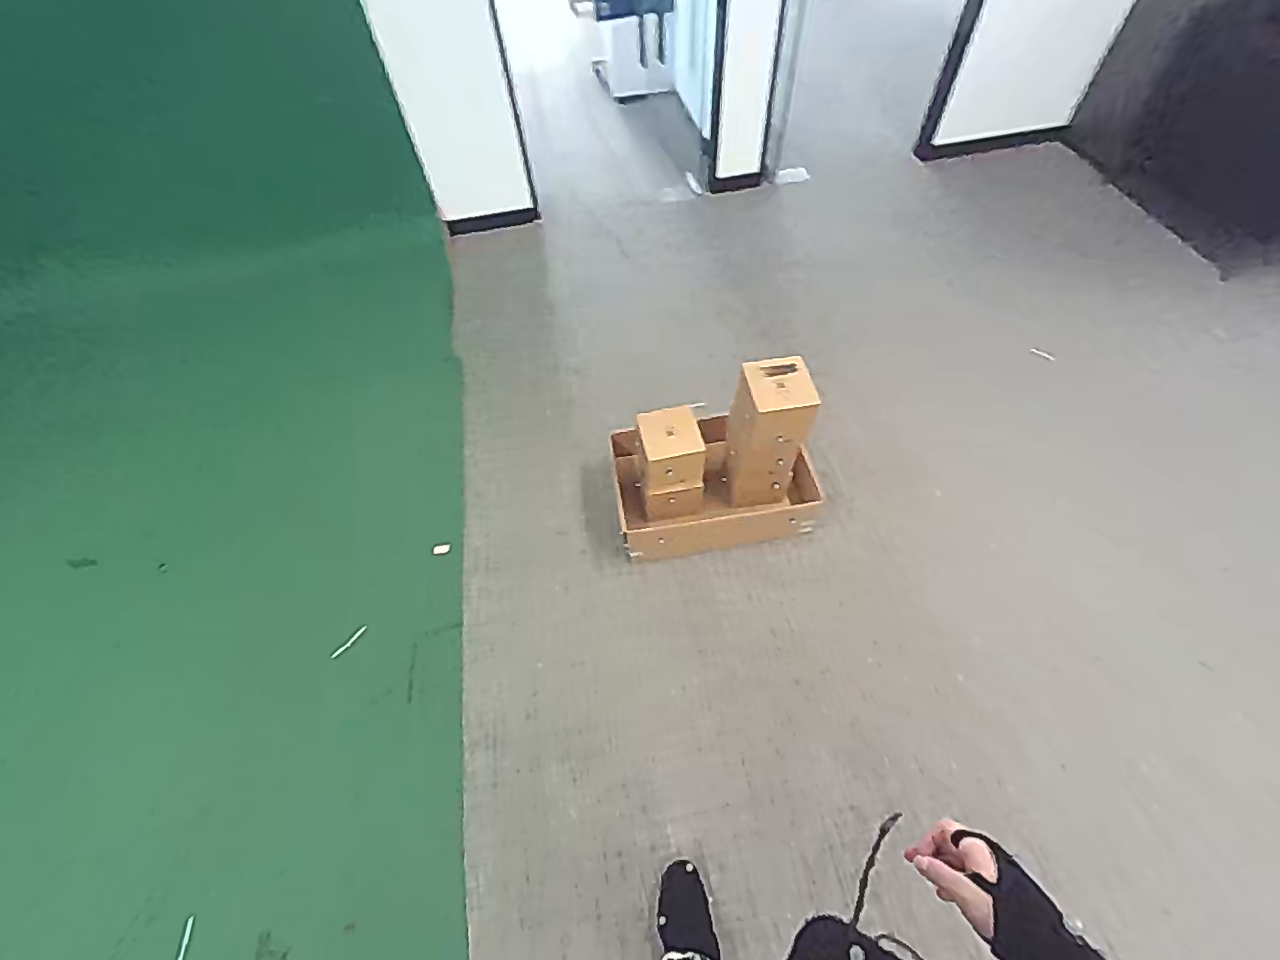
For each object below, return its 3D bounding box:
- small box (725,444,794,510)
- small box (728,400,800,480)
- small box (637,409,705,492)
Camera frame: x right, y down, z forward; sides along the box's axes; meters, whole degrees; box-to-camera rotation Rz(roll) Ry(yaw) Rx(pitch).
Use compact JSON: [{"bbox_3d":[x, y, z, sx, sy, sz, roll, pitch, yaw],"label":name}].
[{"bbox_3d":[0.378,-0.019,1.743,0.179,0.176,0.168,-7,56,0],"label":"small box"},{"bbox_3d":[0.363,-0.112,1.610,0.168,0.176,0.179,-6,56,-1],"label":"small box"},{"bbox_3d":[0.092,-0.080,1.608,0.168,0.176,0.179,-12,56,-5],"label":"small box"}]
